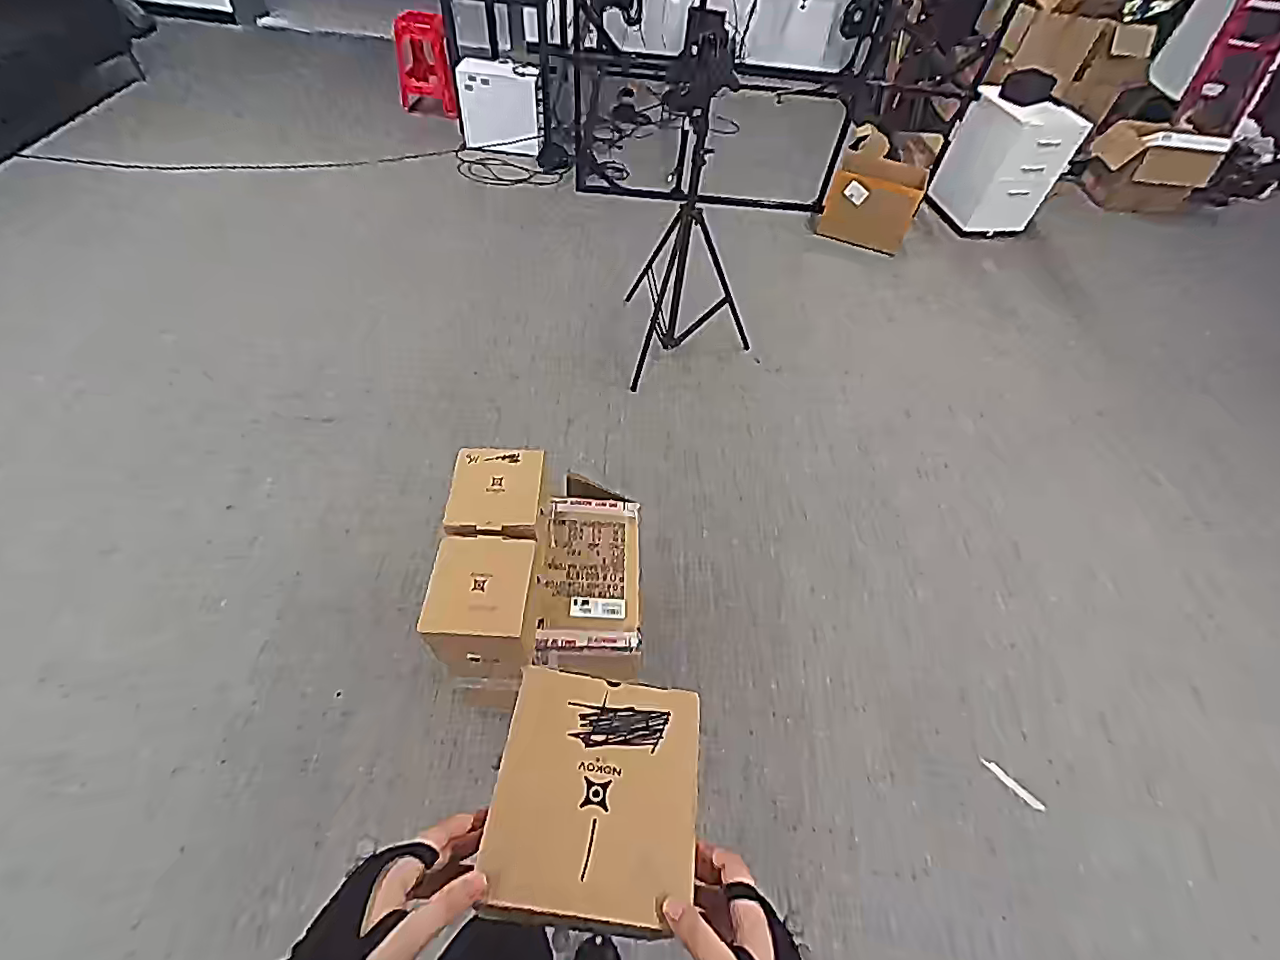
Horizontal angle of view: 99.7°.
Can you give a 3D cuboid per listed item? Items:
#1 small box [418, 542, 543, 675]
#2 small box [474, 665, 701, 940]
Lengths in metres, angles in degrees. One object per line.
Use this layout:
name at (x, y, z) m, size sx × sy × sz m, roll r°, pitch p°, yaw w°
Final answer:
small box at (-0.268, 0.229, 0.957) m, size 0.168 × 0.176 × 0.179 m, roll 3°, pitch 55°, yaw -2°
small box at (-0.044, 0.301, 0.502) m, size 0.168 × 0.176 × 0.179 m, roll 10°, pitch 48°, yaw -2°
